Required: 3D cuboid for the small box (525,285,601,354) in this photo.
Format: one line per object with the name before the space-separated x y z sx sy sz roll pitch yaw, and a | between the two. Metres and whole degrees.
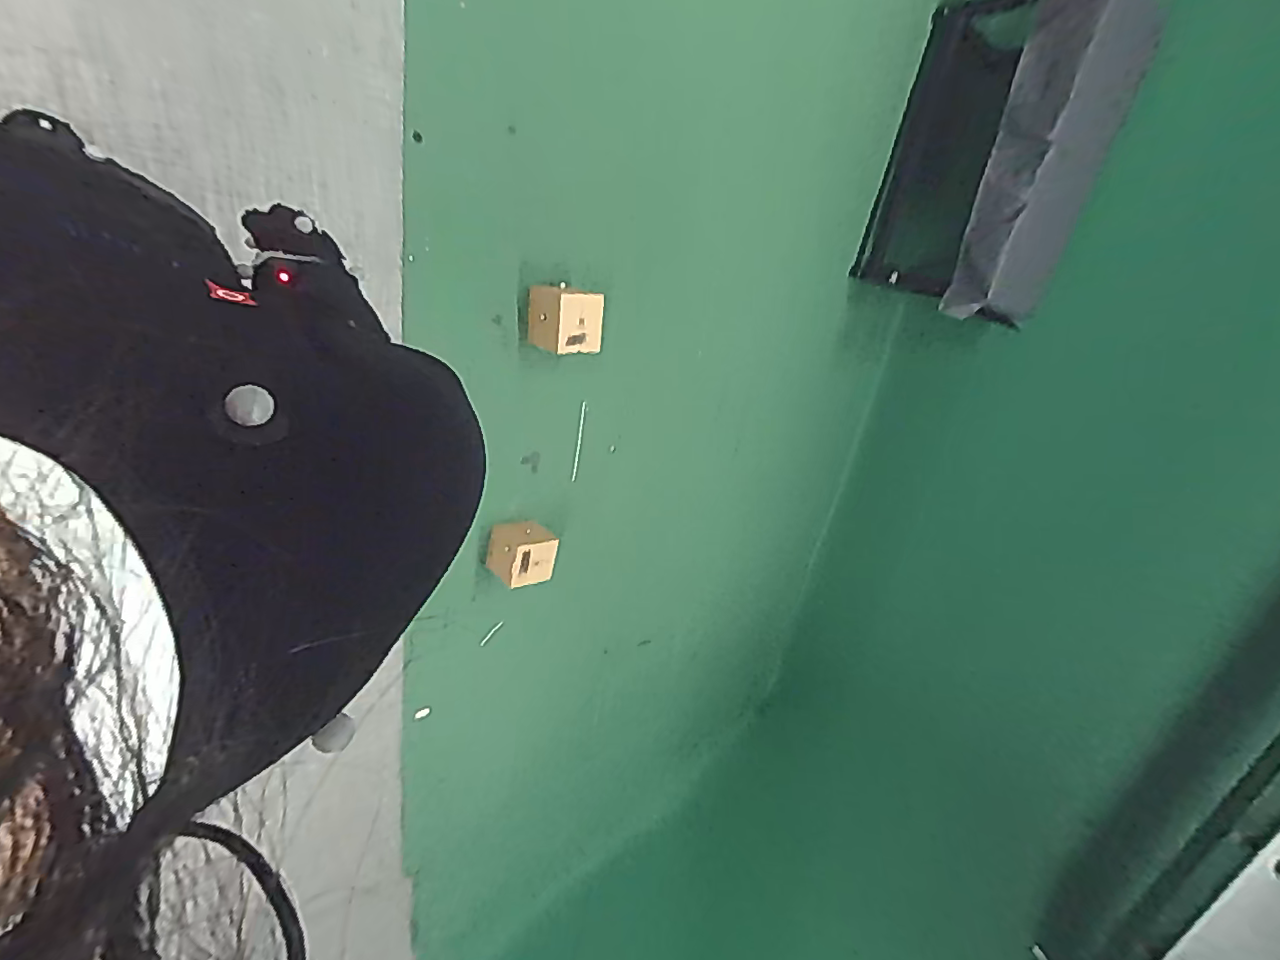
small box | -0.243 -0.497 1.678 0.168 0.176 0.179 -15 122 -42
